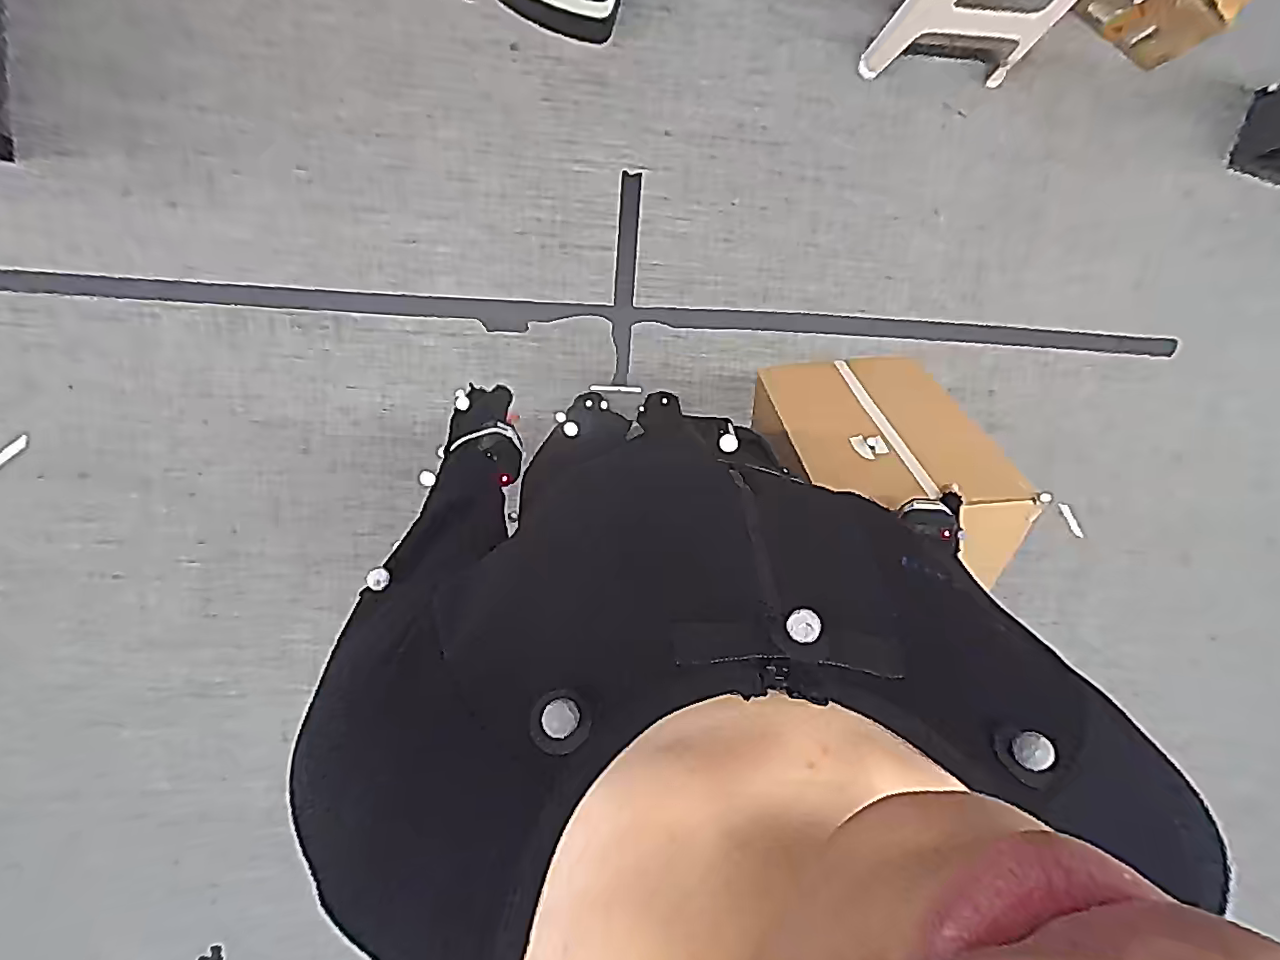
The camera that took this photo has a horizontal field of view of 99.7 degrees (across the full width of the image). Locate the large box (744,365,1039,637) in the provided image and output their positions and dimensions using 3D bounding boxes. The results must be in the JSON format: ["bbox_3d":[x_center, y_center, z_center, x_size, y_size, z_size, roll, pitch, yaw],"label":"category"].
[{"bbox_3d":[0.405,0.027,1.011,0.320,0.408,0.320,-5,133,-2],"label":"large box"}]
